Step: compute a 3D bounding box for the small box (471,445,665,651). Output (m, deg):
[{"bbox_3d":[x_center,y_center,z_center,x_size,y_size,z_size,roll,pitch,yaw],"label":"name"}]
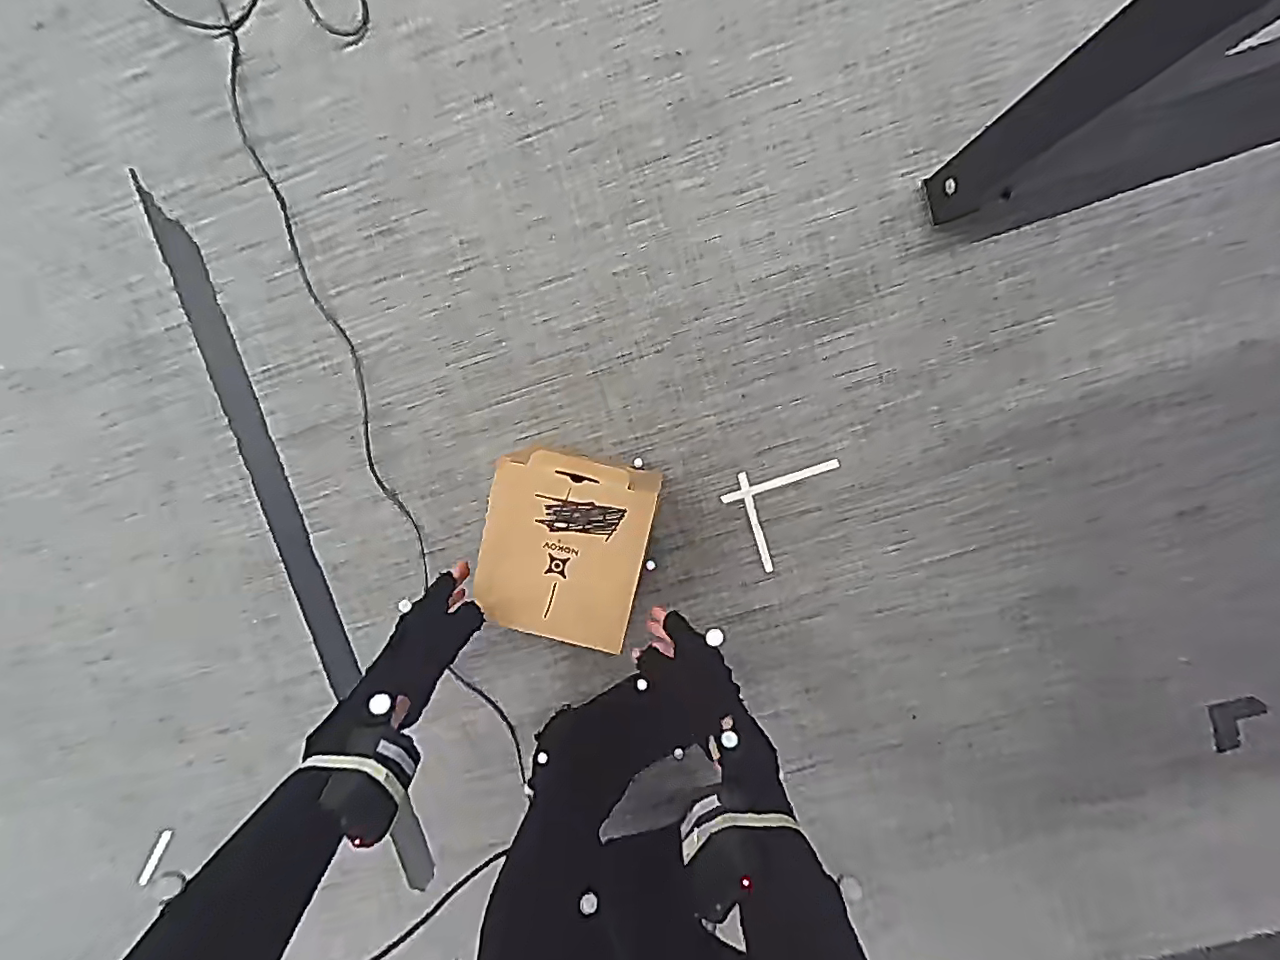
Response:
[{"bbox_3d":[-0.071,0.062,0.620,0.168,0.176,0.179,14,98,2],"label":"small box"}]
